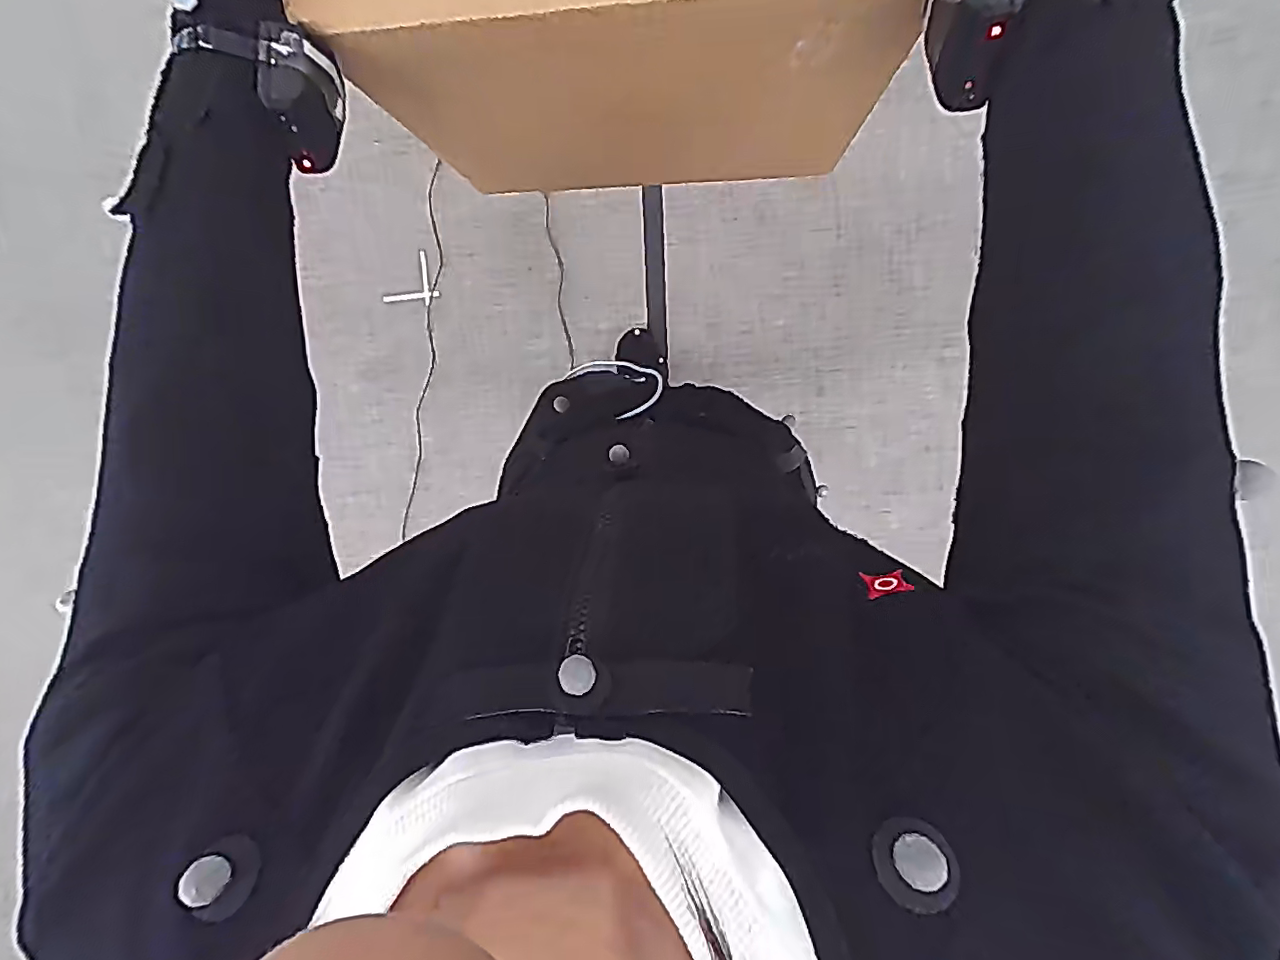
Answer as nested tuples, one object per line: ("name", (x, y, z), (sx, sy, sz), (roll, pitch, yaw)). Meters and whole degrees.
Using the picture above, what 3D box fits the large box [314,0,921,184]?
("large box", (-0.006, -0.474, 0.448), (0.408, 0.320, 0.320), (-1, 101, 5))
